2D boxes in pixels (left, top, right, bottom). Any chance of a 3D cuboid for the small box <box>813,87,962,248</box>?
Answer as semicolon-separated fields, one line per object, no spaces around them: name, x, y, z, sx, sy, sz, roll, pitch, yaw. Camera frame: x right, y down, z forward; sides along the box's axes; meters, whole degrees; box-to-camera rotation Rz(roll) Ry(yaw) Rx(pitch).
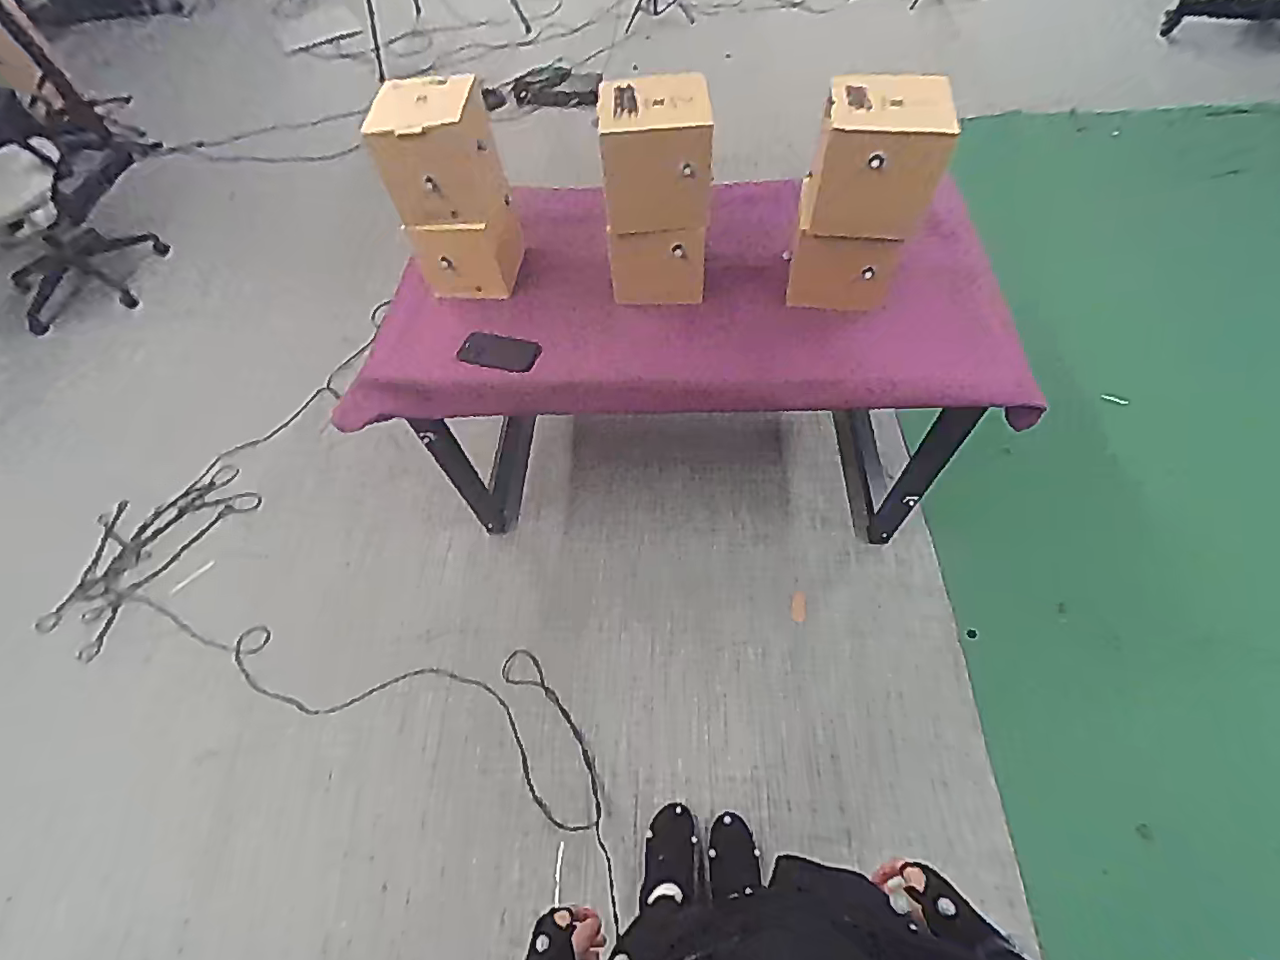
small box;0.382;-0.496;0.866;0.179;0.176;0.168;8;59;9

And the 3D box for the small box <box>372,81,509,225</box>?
small box;-0.347;-0.582;0.979;0.168;0.176;0.179;-1;59;4

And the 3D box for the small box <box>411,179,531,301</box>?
small box;-0.335;-0.489;1.114;0.168;0.176;0.179;3;59;7

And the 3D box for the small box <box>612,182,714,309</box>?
small box;0.050;-0.454;1.058;0.179;0.176;0.168;3;59;7

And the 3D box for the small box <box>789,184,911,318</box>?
small box;0.387;-0.424;1.013;0.179;0.176;0.168;8;59;10
